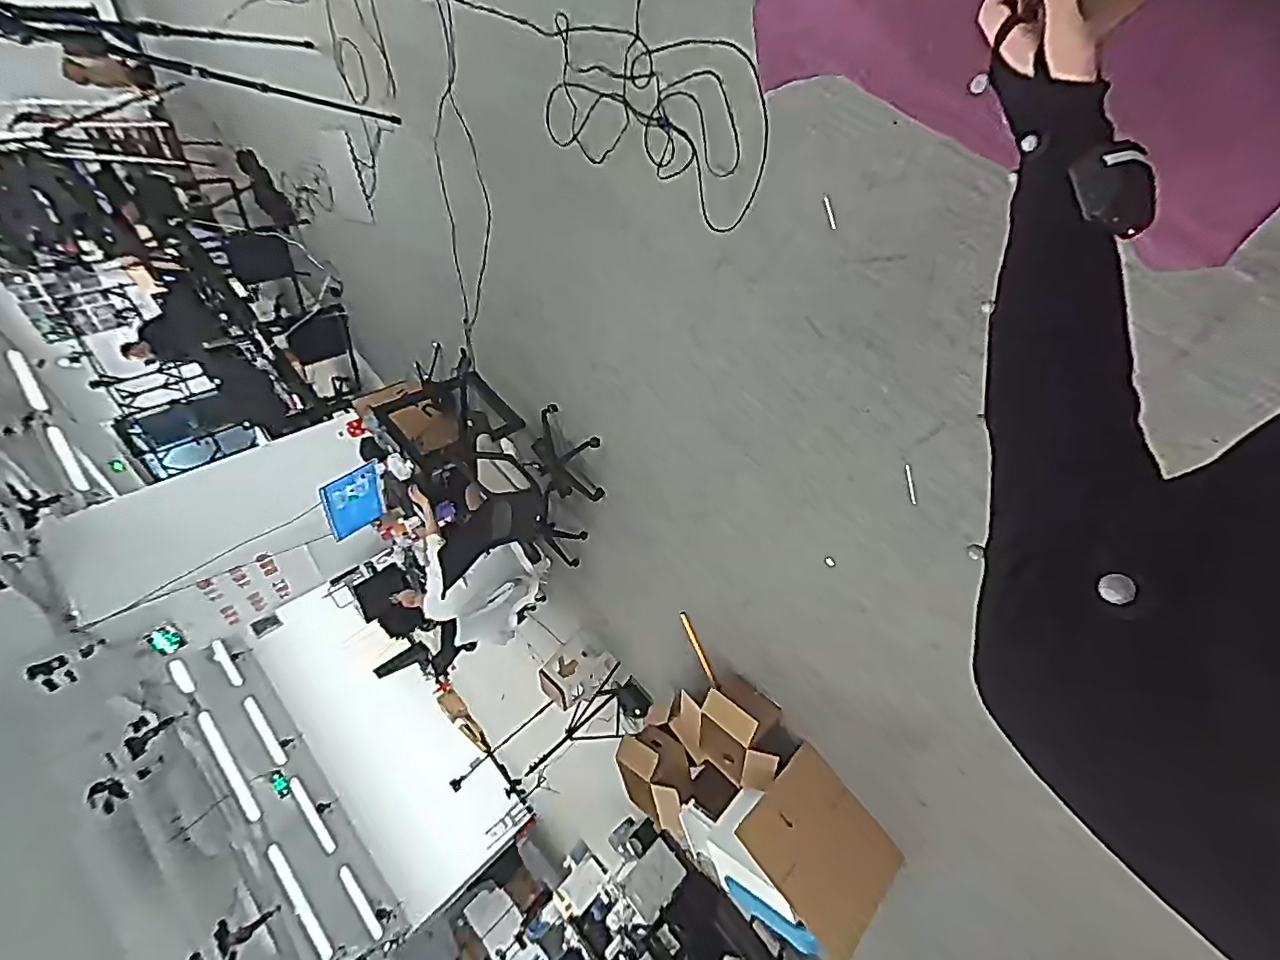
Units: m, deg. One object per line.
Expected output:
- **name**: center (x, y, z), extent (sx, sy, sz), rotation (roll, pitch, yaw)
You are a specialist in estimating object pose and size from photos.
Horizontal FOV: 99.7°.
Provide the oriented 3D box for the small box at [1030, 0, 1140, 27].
- **small box**: center (0.401, -0.526, 0.436), extent (0.179, 0.176, 0.168), rotation (-35, 69, 60)
